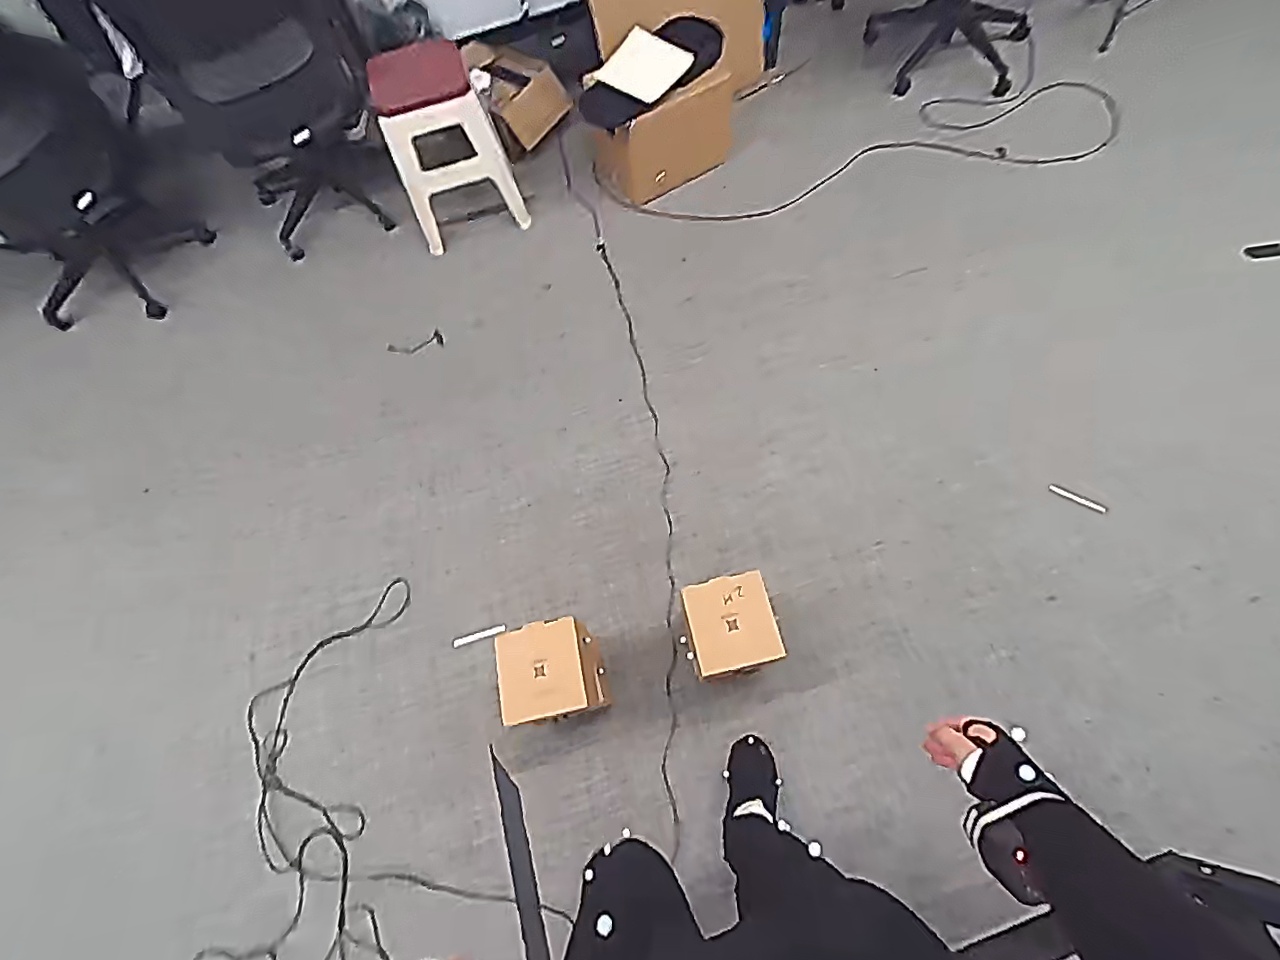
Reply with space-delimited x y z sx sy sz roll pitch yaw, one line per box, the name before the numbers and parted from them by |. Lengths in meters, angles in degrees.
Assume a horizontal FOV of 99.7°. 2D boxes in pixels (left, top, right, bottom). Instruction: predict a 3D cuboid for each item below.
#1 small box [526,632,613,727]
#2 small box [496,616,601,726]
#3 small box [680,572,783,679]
small box | -0.176 0.471 1.272 0.179 0.176 0.168 -18 66 -2
small box | -0.186 0.401 1.124 0.168 0.176 0.179 -15 67 0
small box | 0.183 0.311 1.129 0.168 0.176 0.179 -13 65 -2
